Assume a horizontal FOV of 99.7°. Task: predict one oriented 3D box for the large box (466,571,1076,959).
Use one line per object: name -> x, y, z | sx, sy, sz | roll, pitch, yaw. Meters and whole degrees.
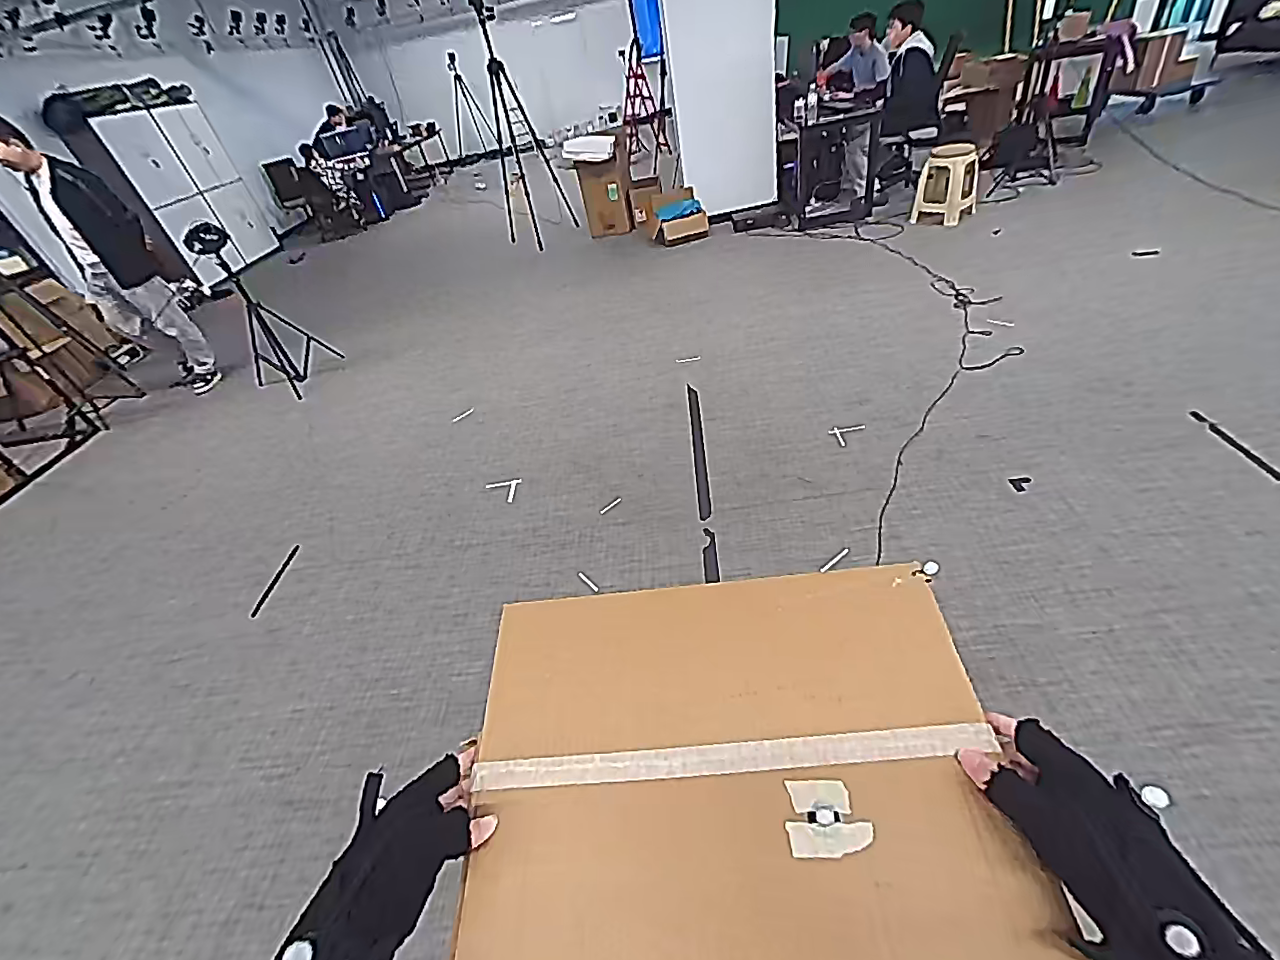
large box -> 0.091, 0.325, 0.547 | 0.408, 0.320, 0.320 | -7, 49, 6
